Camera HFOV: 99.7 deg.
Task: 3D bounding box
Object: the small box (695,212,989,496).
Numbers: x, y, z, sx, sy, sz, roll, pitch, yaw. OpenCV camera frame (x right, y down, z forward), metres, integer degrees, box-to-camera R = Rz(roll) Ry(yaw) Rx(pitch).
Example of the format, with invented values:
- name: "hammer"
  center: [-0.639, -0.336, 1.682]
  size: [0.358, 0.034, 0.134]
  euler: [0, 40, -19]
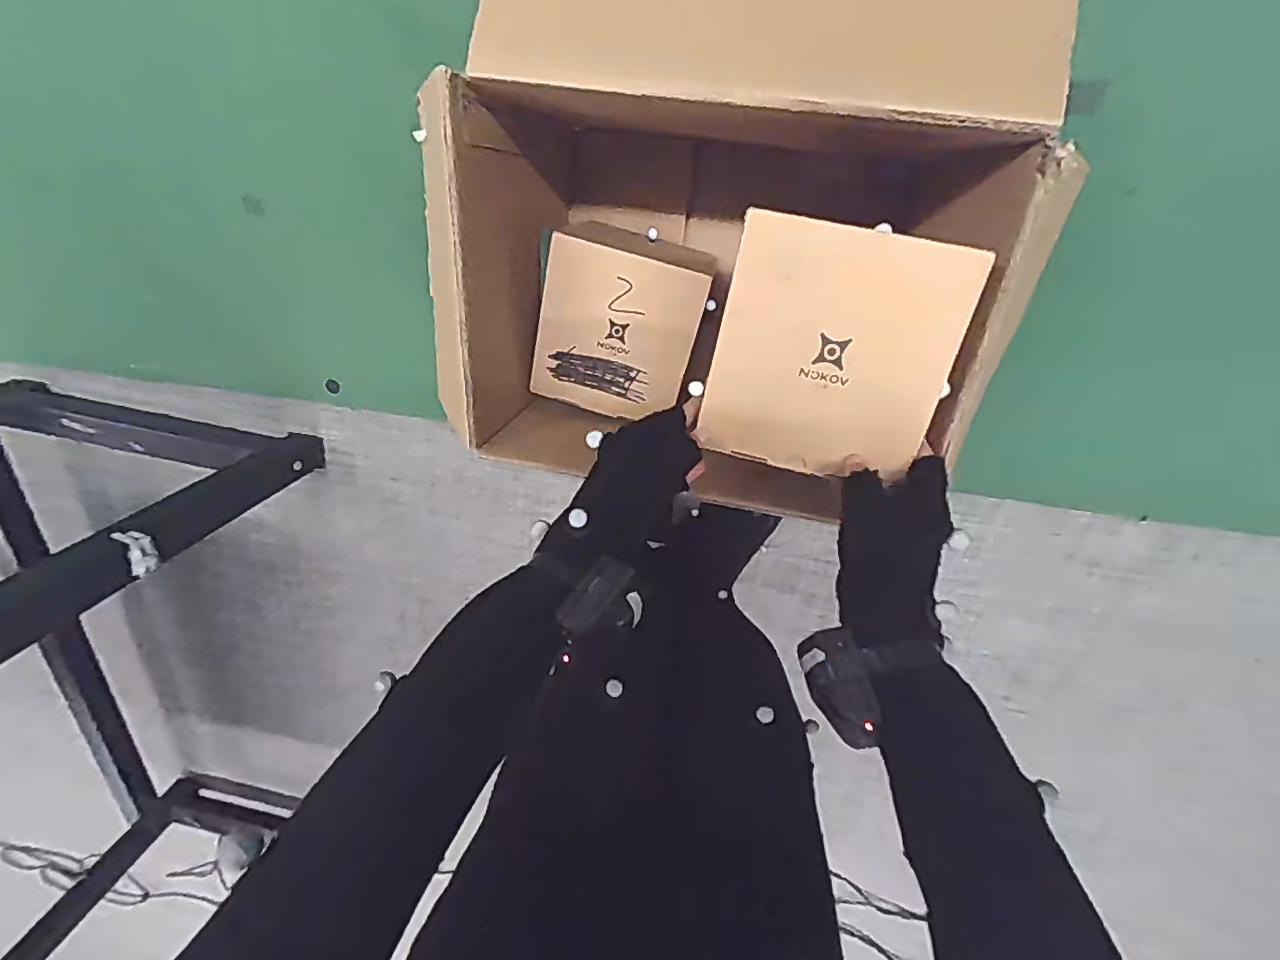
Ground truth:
- name: "small box"
  center: [0.151, -0.112, 0.469]
  size: [0.168, 0.176, 0.179]
  euler: [15, 111, 6]
